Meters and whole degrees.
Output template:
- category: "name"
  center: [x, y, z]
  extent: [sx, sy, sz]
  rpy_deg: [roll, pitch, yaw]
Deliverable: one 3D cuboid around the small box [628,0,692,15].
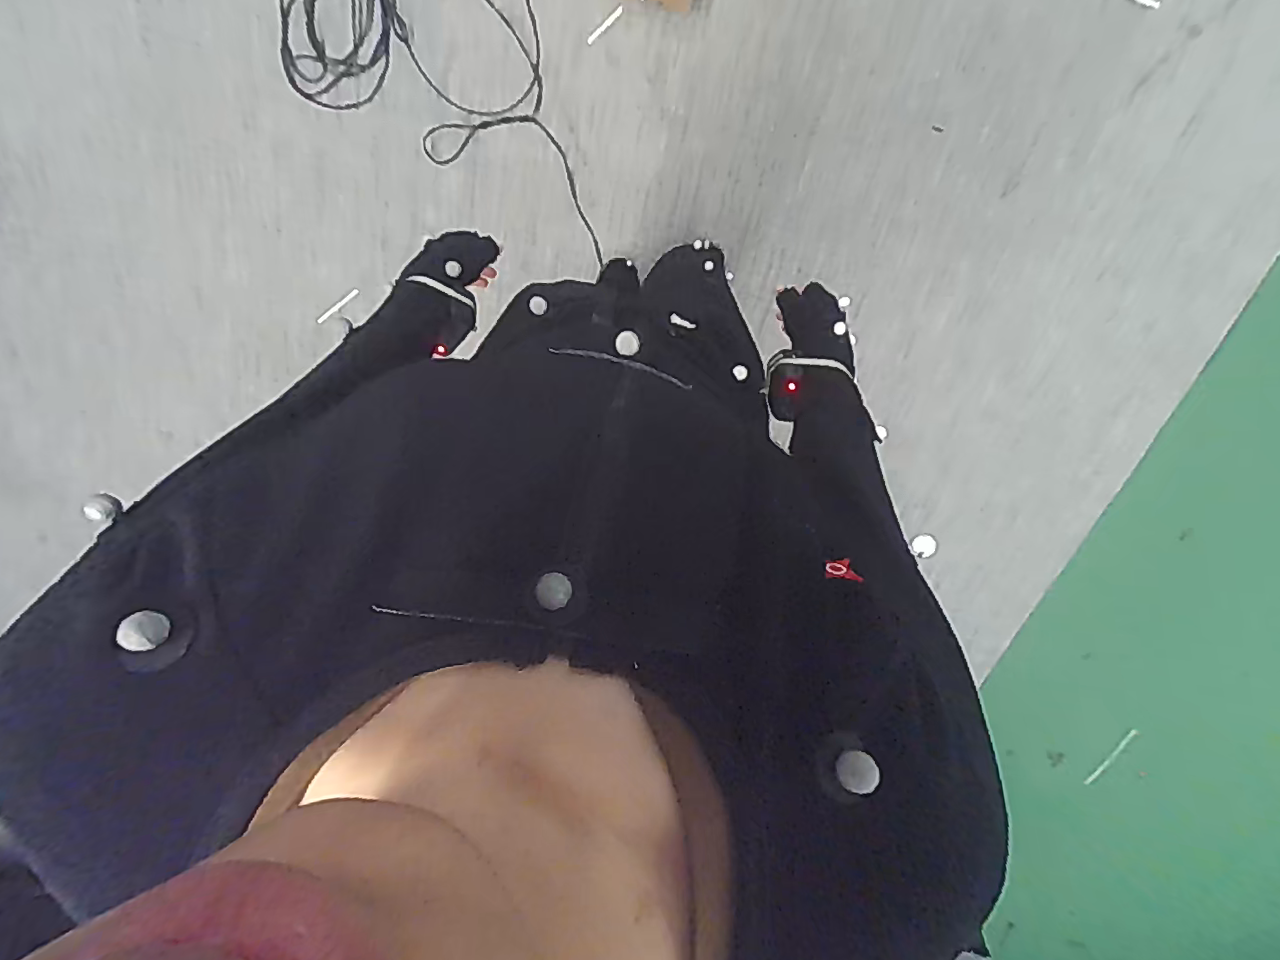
- category: "small box"
  center: [0.038, -1.008, 0.994]
  extent: [0.168, 0.176, 0.179]
  rpy_deg: [11, 116, -4]
